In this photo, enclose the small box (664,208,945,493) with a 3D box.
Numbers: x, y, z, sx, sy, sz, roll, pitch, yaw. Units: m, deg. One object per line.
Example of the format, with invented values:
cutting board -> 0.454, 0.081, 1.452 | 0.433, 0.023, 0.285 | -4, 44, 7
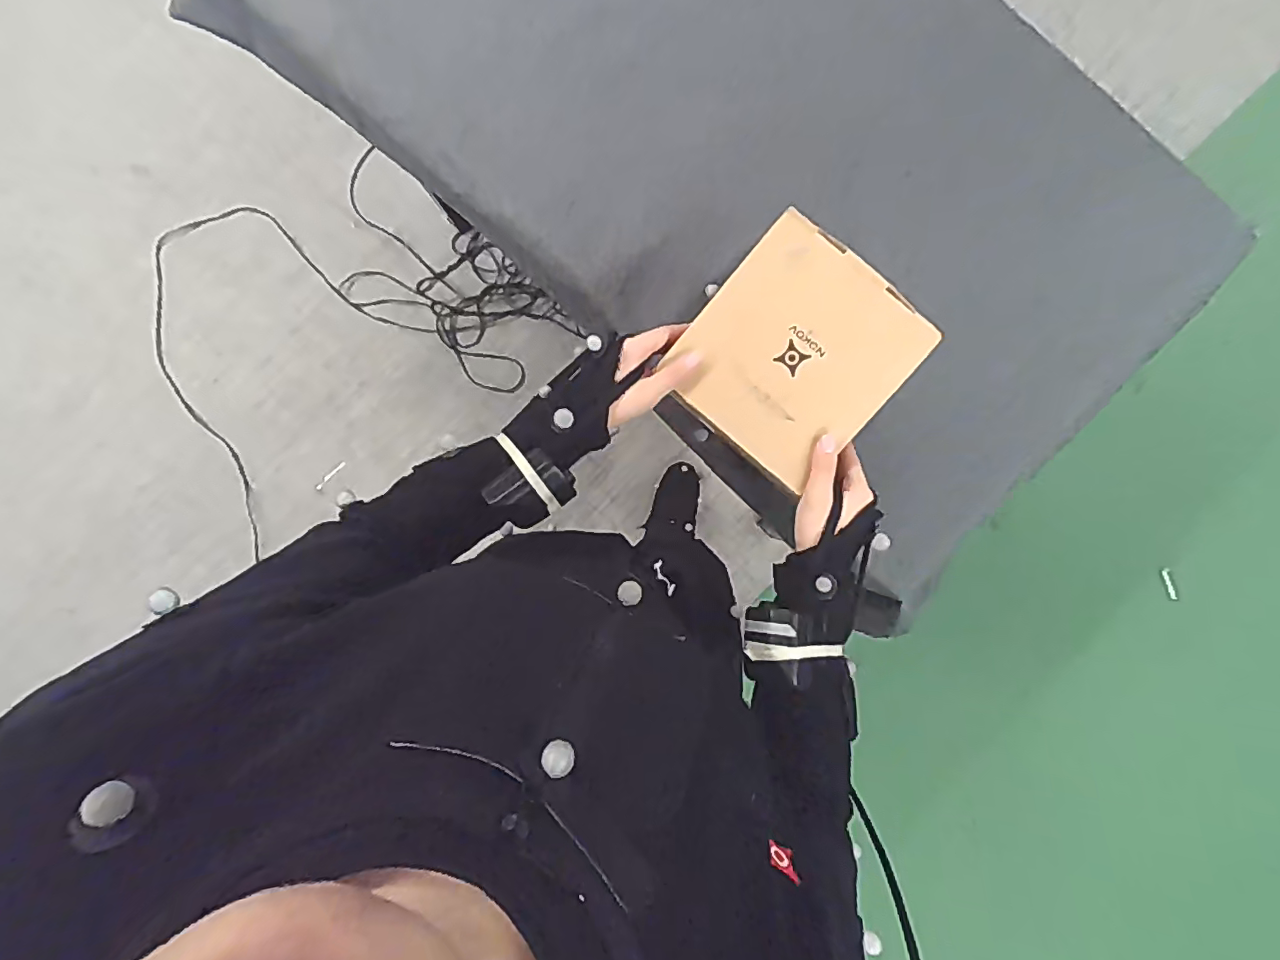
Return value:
small box -> 0.139, -0.112, 0.525 | 0.168, 0.176, 0.179 | 40, 98, 1
